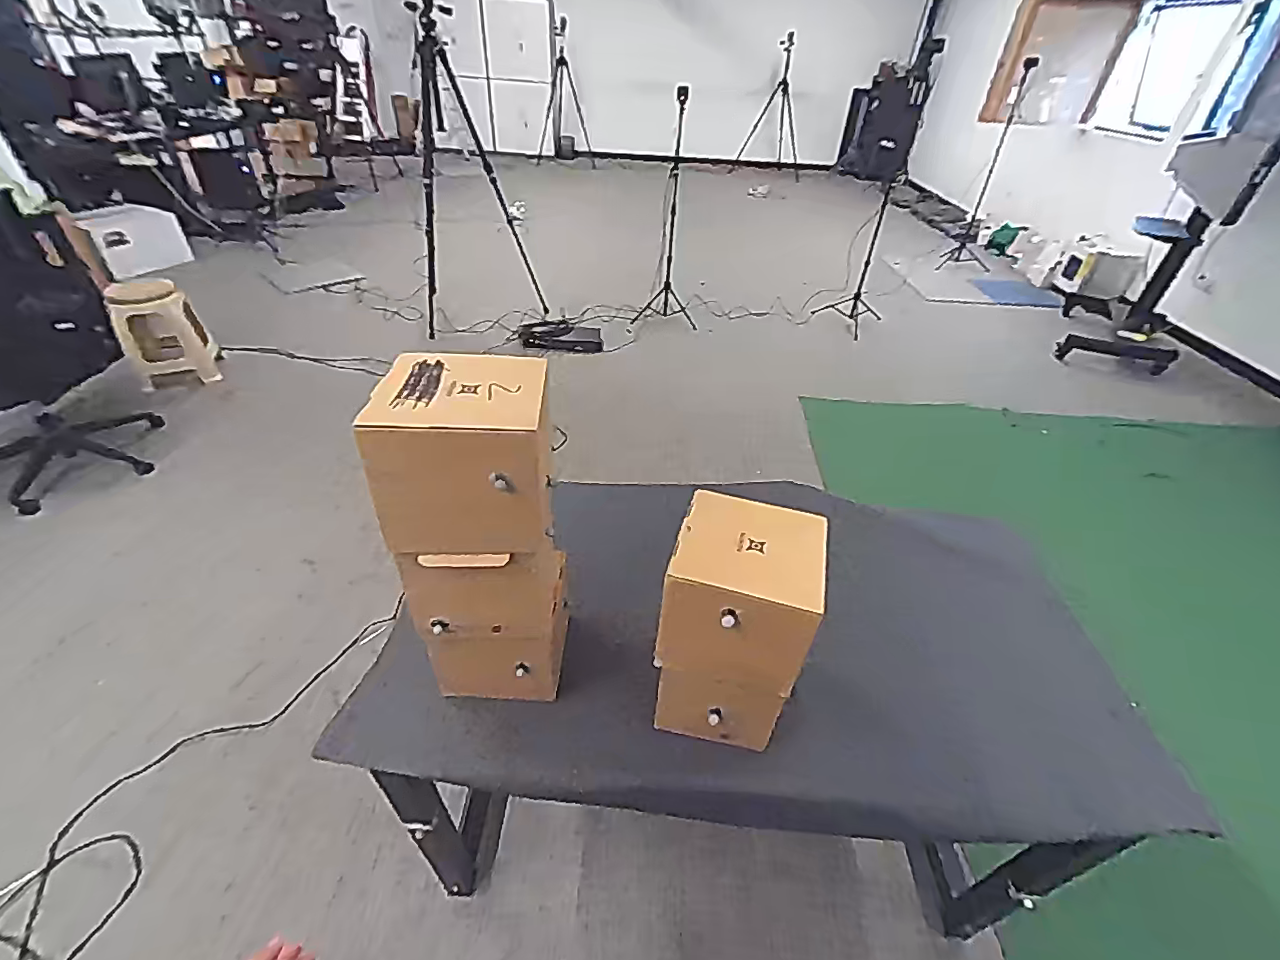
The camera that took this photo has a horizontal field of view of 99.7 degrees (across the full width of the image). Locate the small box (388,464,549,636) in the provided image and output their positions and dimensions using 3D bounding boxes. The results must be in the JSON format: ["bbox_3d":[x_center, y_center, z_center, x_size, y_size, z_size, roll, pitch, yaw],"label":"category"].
[{"bbox_3d":[-0.215,0.095,0.734,0.168,0.176,0.179,0,37,-4],"label":"small box"}]

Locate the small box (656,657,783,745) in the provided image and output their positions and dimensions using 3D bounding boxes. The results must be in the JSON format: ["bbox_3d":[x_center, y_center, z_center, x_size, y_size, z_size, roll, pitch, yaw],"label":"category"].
[{"bbox_3d":[0.117,0.263,0.805,0.168,0.176,0.179,8,39,8],"label":"small box"}]

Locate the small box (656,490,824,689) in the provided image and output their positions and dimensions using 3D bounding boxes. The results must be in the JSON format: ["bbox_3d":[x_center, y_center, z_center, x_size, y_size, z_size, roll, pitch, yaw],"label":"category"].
[{"bbox_3d":[0.126,0.141,0.697,0.179,0.176,0.168,11,39,12],"label":"small box"}]

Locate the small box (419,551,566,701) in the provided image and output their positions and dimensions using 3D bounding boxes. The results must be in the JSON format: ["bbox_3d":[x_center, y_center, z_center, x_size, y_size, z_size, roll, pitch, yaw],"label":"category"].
[{"bbox_3d":[-0.212,0.223,0.837,0.179,0.176,0.168,2,37,0],"label":"small box"}]
